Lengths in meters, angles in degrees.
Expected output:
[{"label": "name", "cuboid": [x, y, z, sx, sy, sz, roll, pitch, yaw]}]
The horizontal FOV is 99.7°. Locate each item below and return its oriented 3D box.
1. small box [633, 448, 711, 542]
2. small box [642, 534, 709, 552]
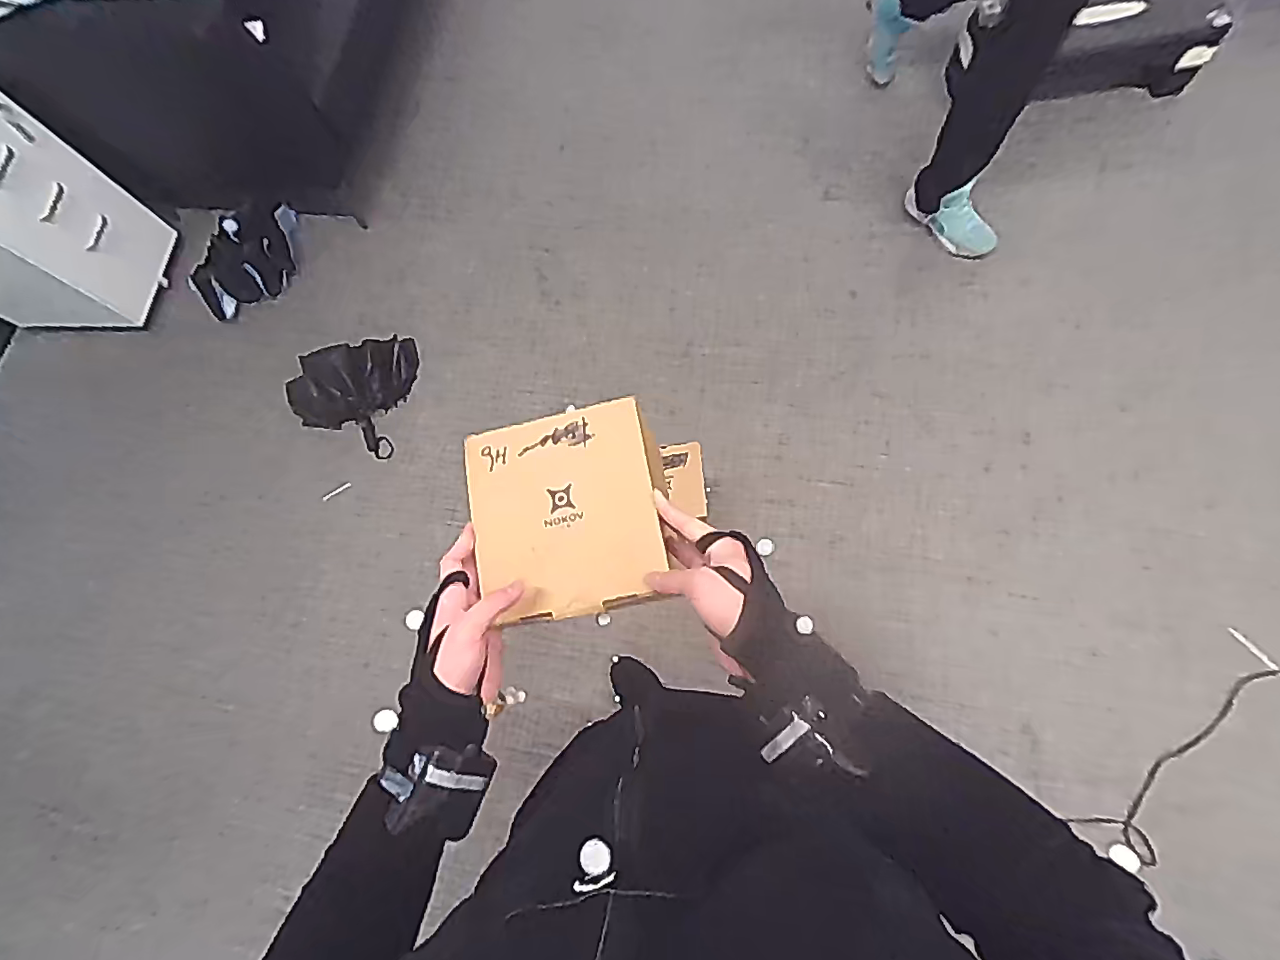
[{"label": "small box", "cuboid": [0.076, 0.041, 1.269, 0.168, 0.176, 0.179, -6, 73, 6]}, {"label": "small box", "cuboid": [0.092, 0.088, 1.425, 0.168, 0.176, 0.179, -7, 70, 5]}]
